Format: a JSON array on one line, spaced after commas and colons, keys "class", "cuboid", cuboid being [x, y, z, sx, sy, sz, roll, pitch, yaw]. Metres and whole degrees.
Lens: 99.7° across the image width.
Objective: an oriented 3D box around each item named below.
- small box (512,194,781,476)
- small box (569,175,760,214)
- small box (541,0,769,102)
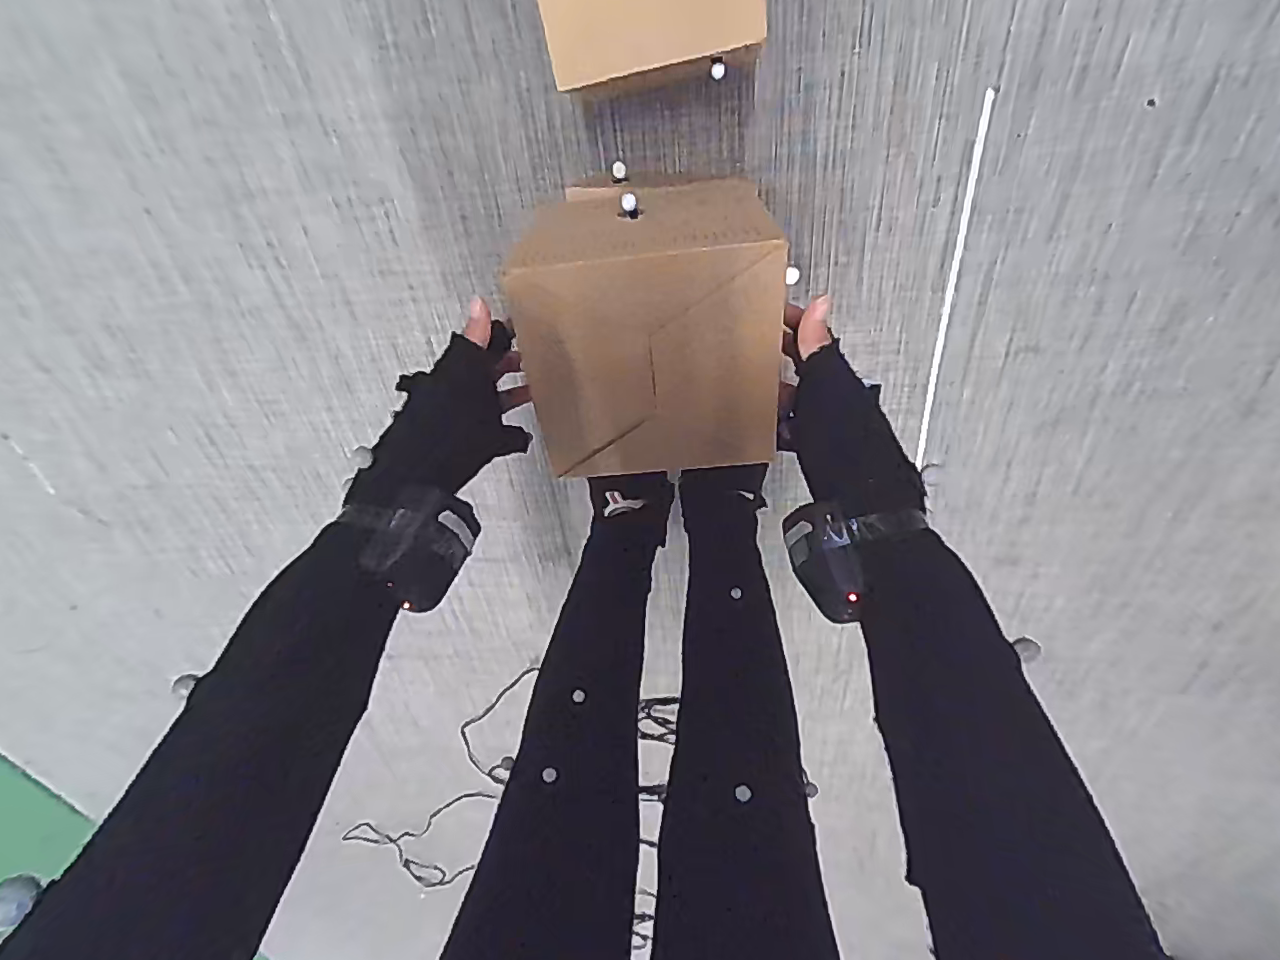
[{"class": "small box", "cuboid": [0.013, -0.118, 0.437, 0.179, 0.176, 0.168, -4, 127, 3]}, {"class": "small box", "cuboid": [0.030, -0.235, 0.596, 0.179, 0.176, 0.168, 3, 124, 6]}, {"class": "small box", "cuboid": [0.013, -0.443, 0.465, 0.179, 0.176, 0.168, -6, 122, 11]}]
